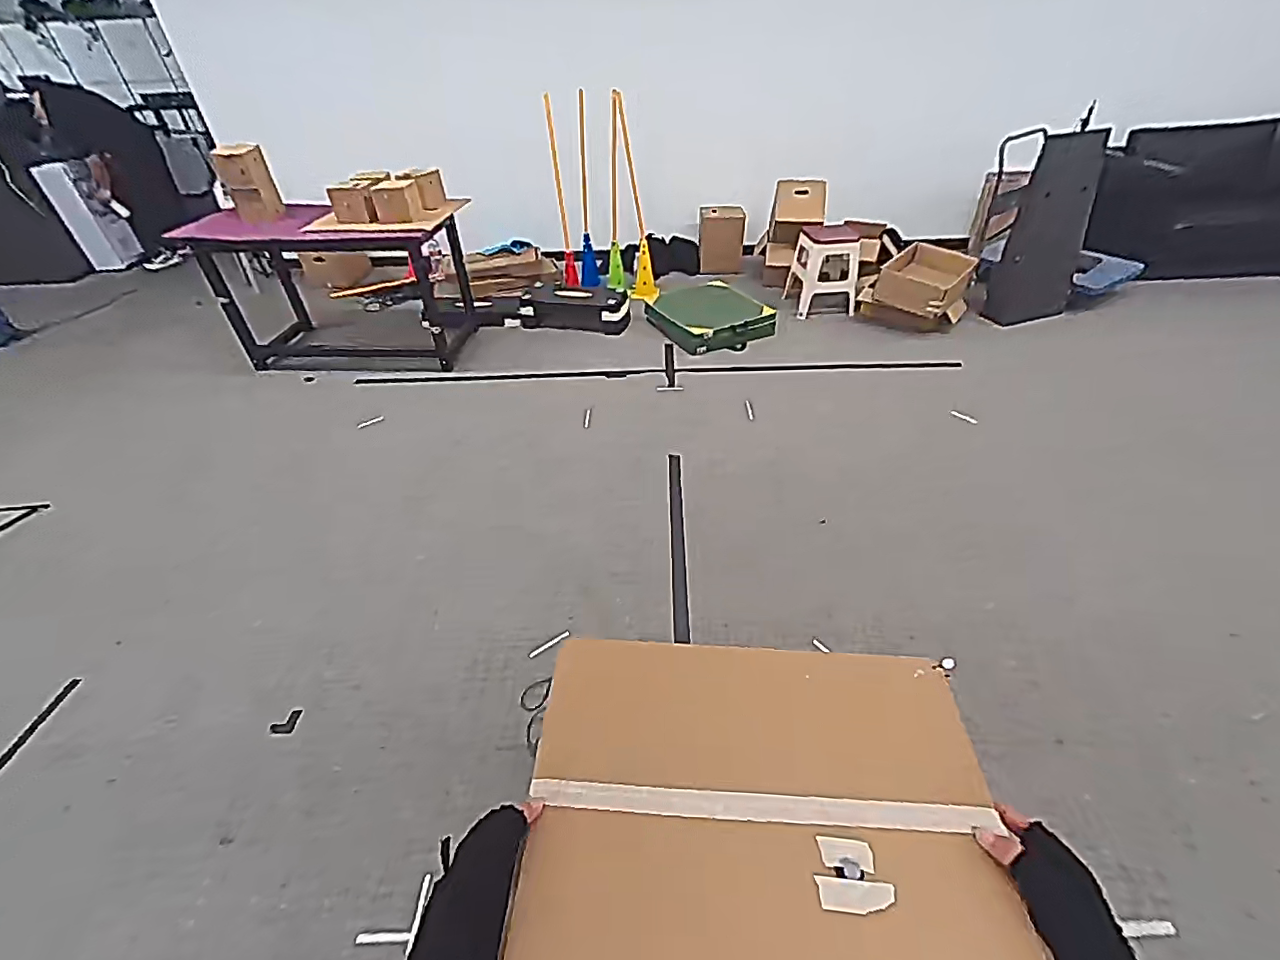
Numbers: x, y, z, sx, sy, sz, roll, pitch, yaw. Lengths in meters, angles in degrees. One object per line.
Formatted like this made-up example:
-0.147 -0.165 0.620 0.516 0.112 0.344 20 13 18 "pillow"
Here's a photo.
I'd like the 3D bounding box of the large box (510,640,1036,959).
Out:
0.106 0.399 0.586 0.408 0.320 0.320 2 42 4 "large box"
